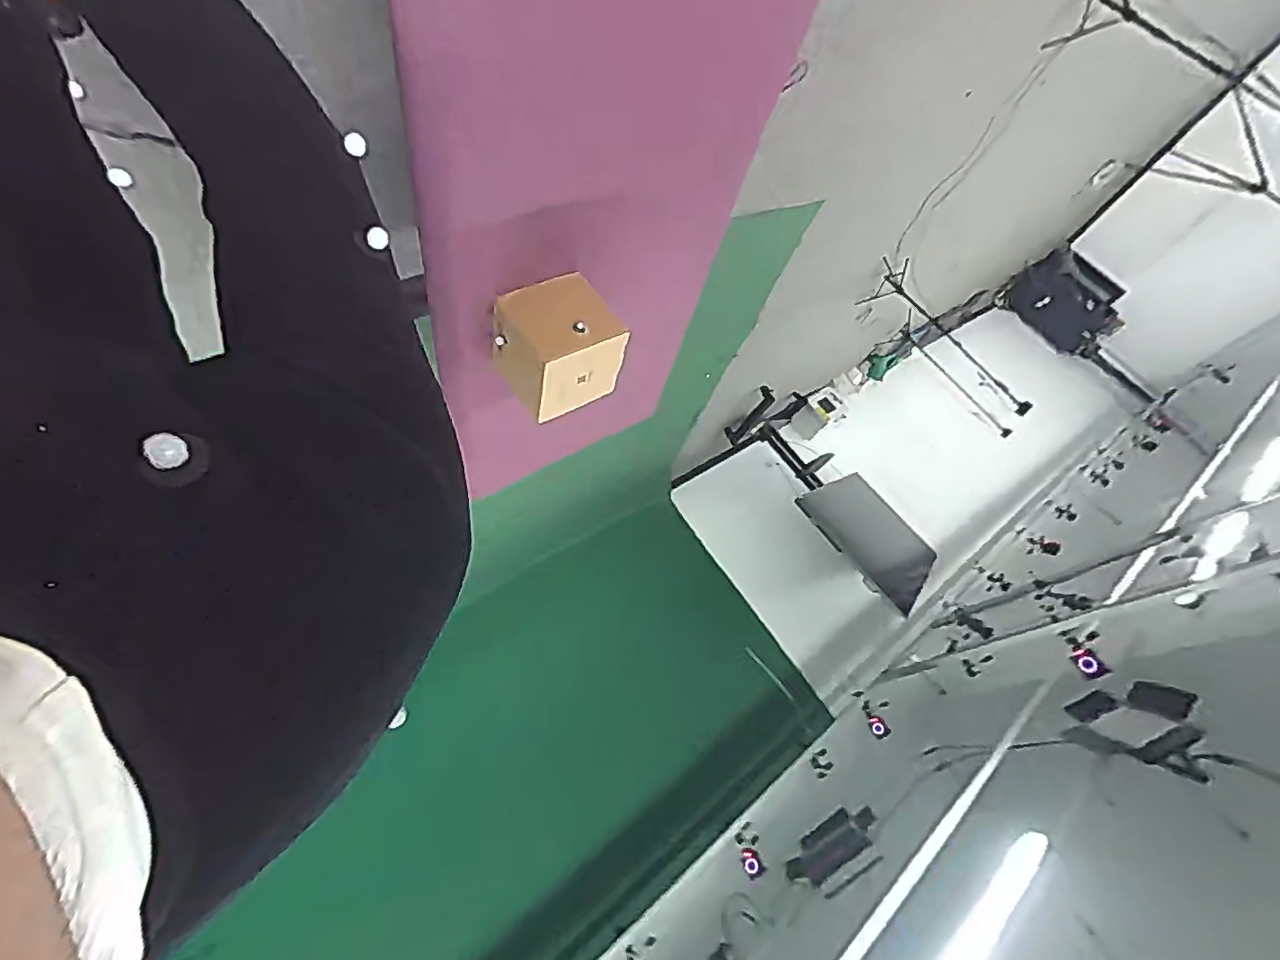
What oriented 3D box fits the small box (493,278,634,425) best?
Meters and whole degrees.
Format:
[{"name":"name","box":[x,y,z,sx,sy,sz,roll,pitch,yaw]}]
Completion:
[{"name":"small box","box":[-0.143,-0.236,0.976,0.179,0.176,0.168,-28,160,-28]}]
